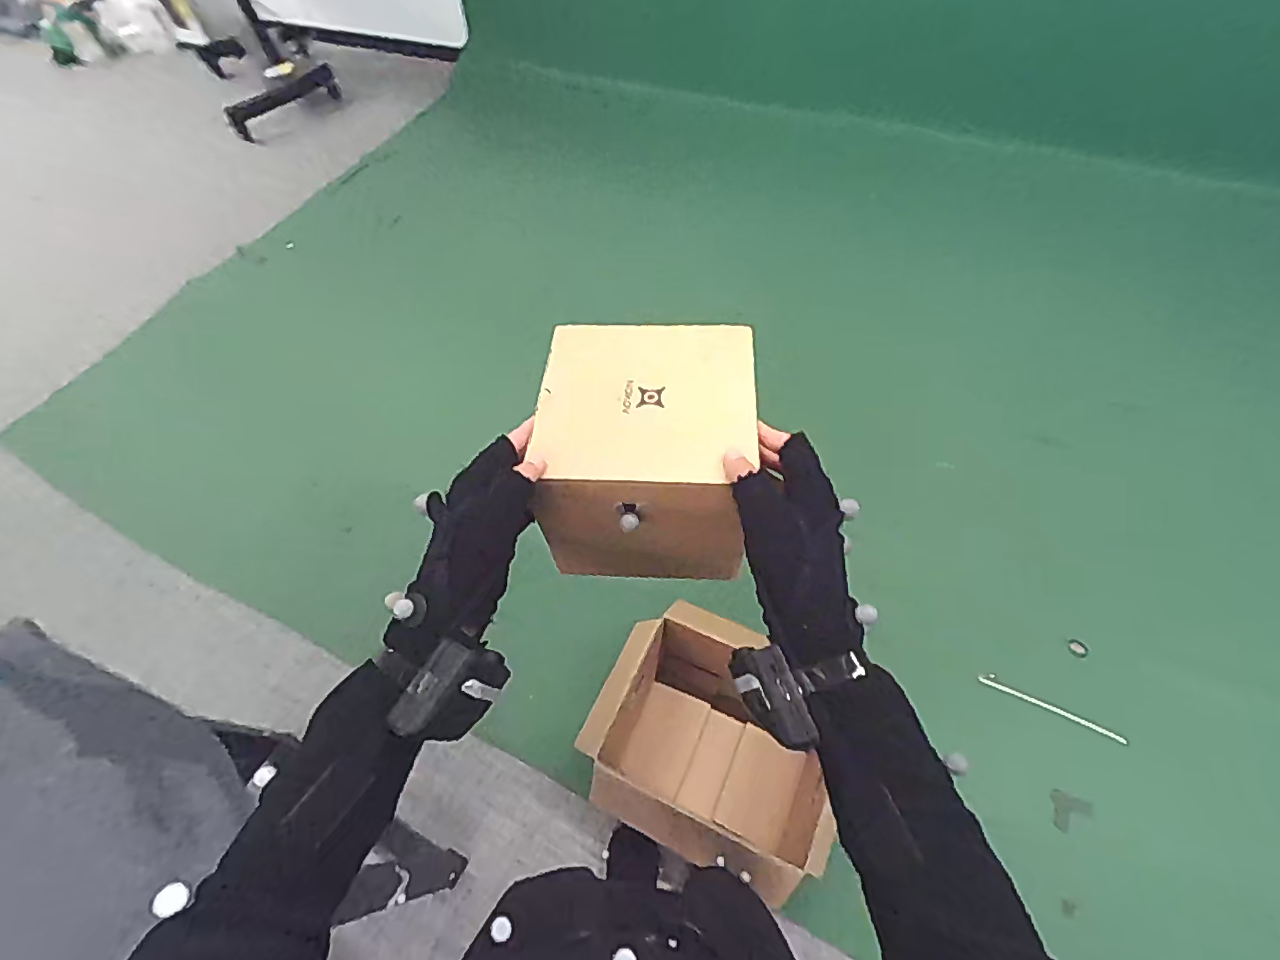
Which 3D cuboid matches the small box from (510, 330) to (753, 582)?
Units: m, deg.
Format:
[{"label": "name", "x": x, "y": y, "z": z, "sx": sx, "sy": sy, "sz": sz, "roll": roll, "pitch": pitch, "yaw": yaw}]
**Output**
[{"label": "small box", "x": 0.003, "y": -0.016, "z": 0.492, "sx": 0.179, "sy": 0.176, "sz": 0.168, "roll": 0, "pitch": 56, "yaw": 6}]
